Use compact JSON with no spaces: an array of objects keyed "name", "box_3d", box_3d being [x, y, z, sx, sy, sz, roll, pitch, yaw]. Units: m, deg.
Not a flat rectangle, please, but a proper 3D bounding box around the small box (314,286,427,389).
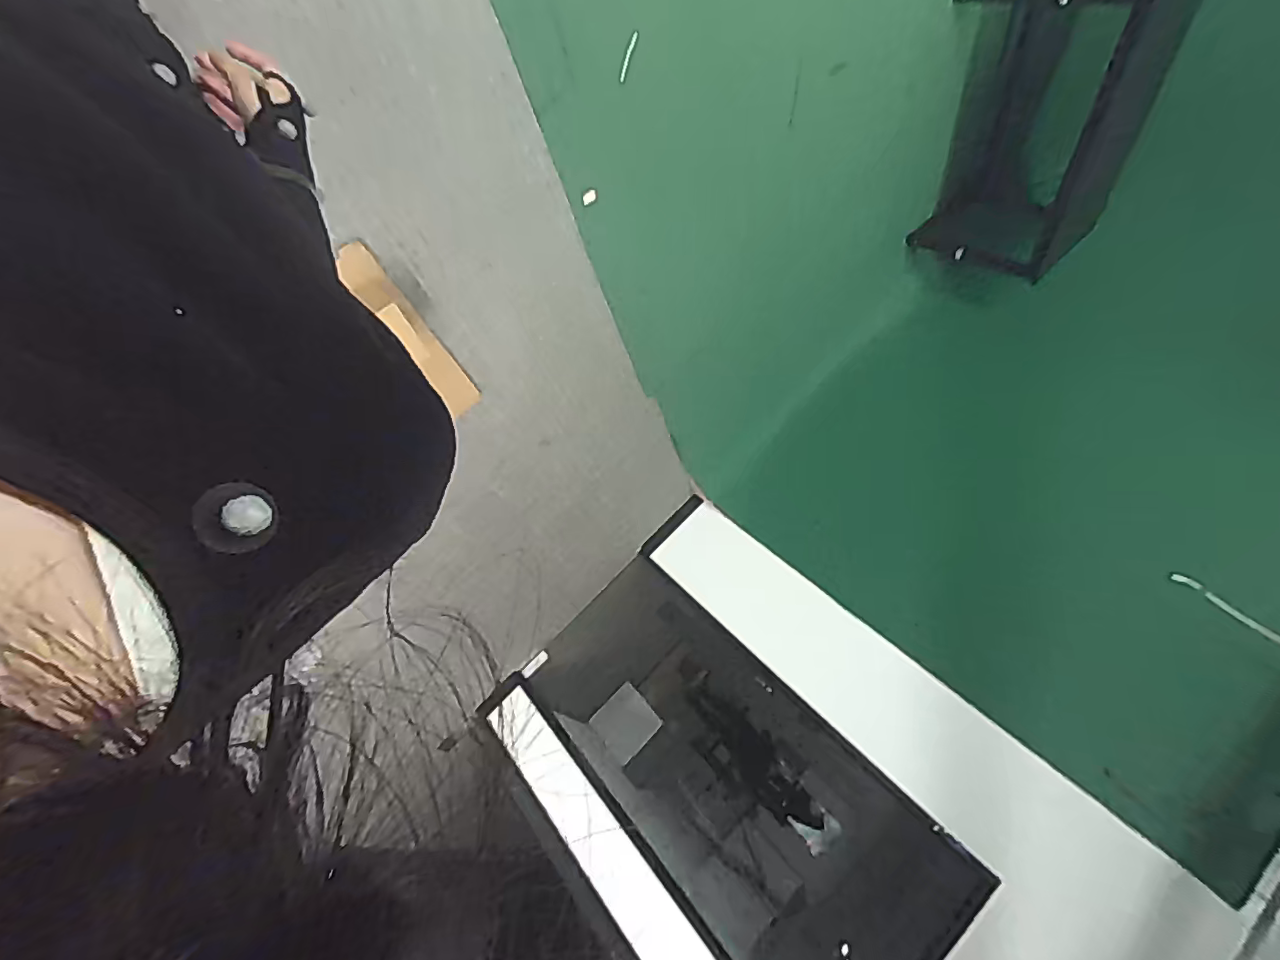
[{"name":"small box","box_3d":[-0.689,-0.373,1.381,0.168,0.176,0.179,-39,145,-16]}]
